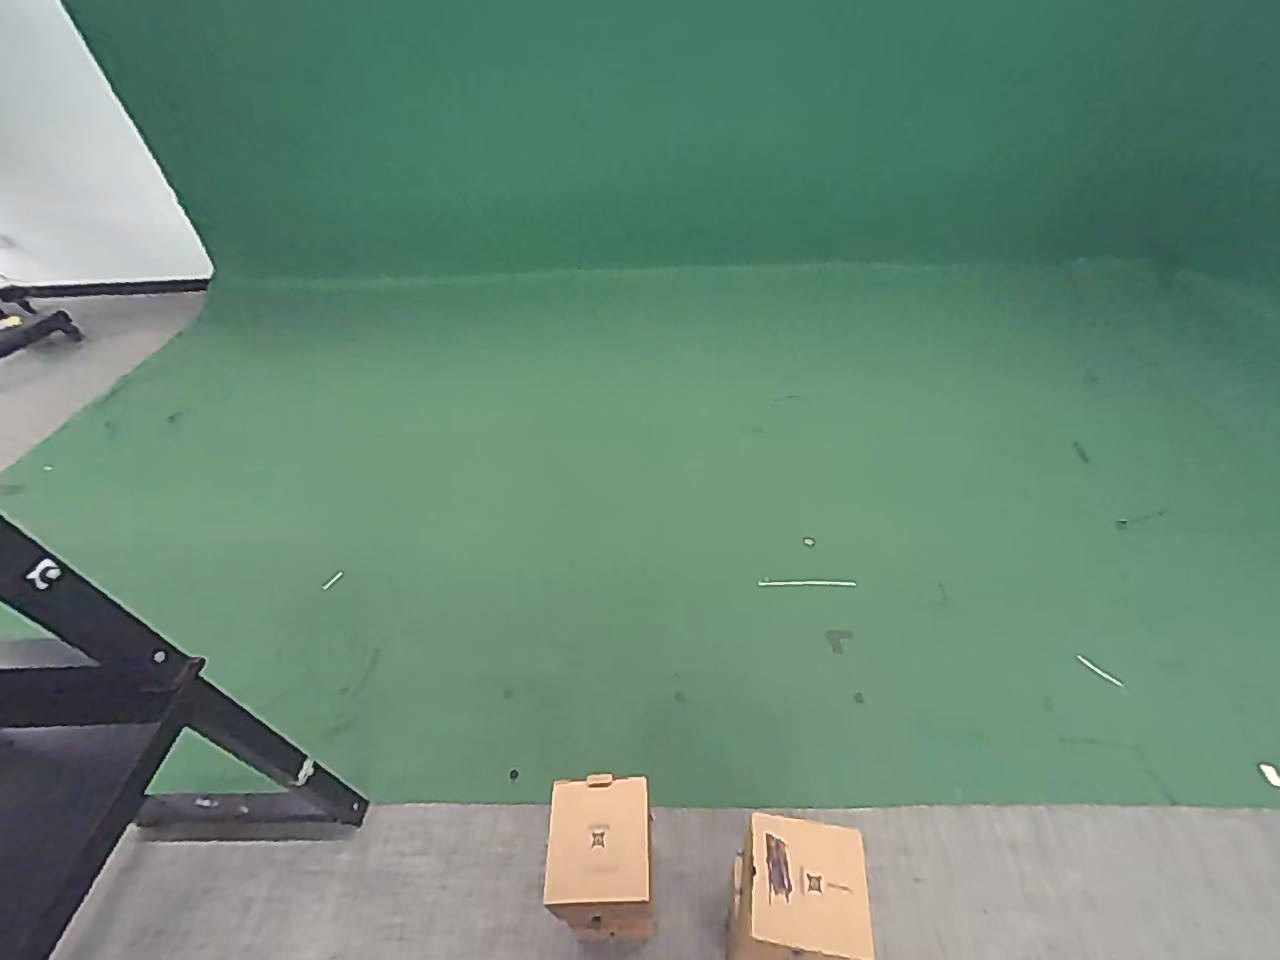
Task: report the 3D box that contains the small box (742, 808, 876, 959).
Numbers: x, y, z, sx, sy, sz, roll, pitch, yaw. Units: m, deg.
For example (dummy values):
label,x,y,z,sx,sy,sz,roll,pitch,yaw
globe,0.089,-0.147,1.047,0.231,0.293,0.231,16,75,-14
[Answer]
label,x,y,z,sx,sy,sz,roll,pitch,yaw
small box,0.260,0.656,0.870,0.179,0.176,0.168,5,46,8

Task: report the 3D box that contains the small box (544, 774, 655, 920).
label,x,y,z,sx,sy,sz,roll,pitch,yaw
small box,-0.062,0.628,0.926,0.168,0.176,0.179,-4,44,1

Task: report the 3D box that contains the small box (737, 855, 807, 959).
label,x,y,z,sx,sy,sz,roll,pitch,yaw
small box,0.274,0.772,0.985,0.179,0.176,0.168,7,46,10
